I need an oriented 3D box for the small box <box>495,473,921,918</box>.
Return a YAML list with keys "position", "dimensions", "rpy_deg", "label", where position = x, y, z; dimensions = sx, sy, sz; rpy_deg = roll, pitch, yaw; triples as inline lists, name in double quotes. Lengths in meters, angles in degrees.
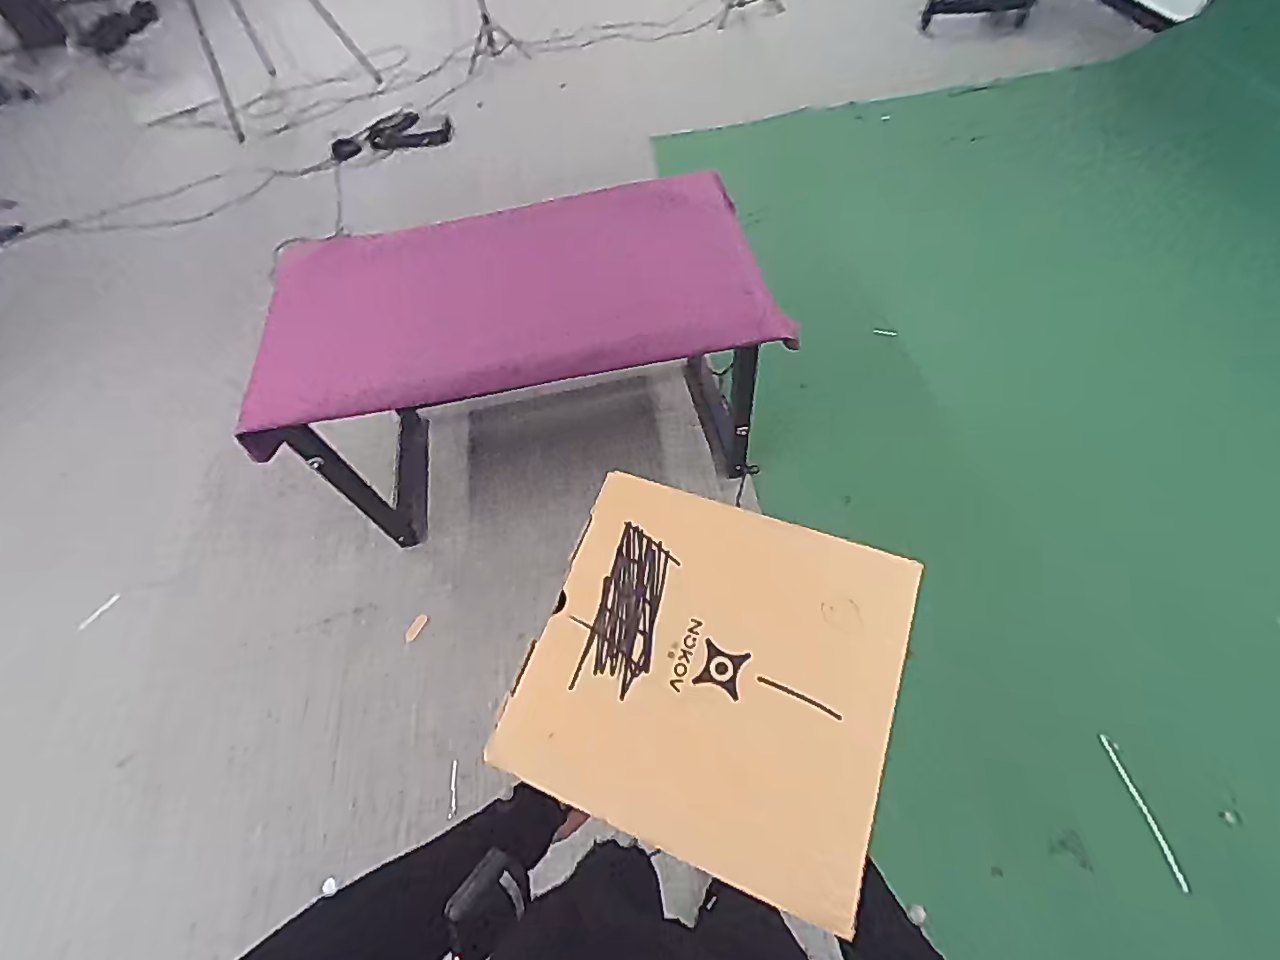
- position: [0.046, 0.121, 0.341]
  dimensions: [0.179, 0.176, 0.168]
  rpy_deg: [16, 69, 16]
  label: "small box"
